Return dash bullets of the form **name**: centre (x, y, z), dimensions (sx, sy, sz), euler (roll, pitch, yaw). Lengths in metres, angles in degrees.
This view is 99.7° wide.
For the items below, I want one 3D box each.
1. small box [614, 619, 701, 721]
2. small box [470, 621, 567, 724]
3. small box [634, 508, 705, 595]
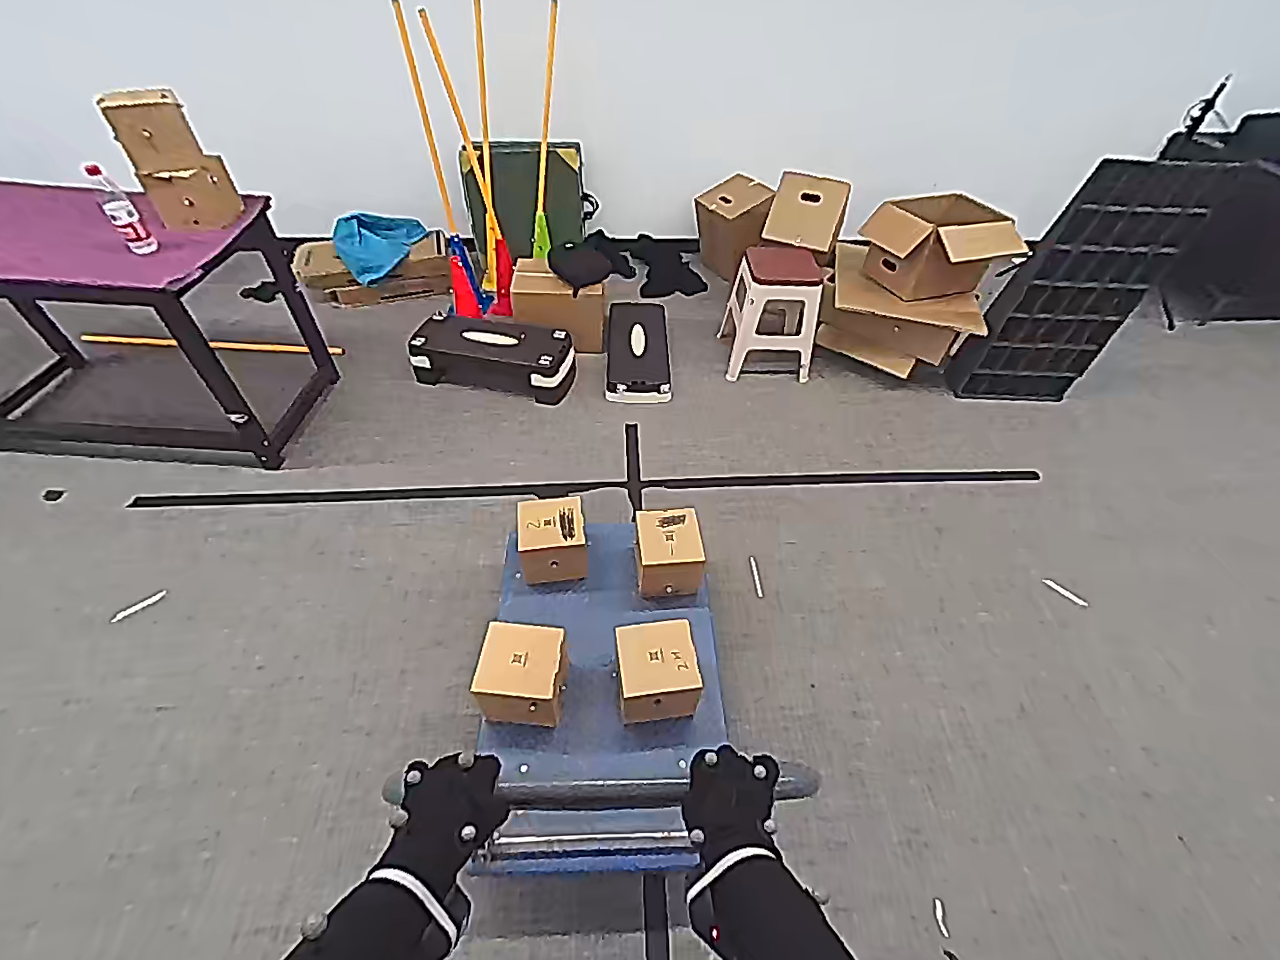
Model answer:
- **small box**: centre (0.034, 0.445, 1.258), dimensions (0.179, 0.176, 0.168), euler (-4, 49, -7)
- **small box**: centre (-0.270, 0.444, 1.243), dimensions (0.179, 0.176, 0.168), euler (6, 47, 0)
- **small box**: centre (0.074, 0.197, 1.484), dimensions (0.168, 0.176, 0.179), euler (-3, 49, -5)
